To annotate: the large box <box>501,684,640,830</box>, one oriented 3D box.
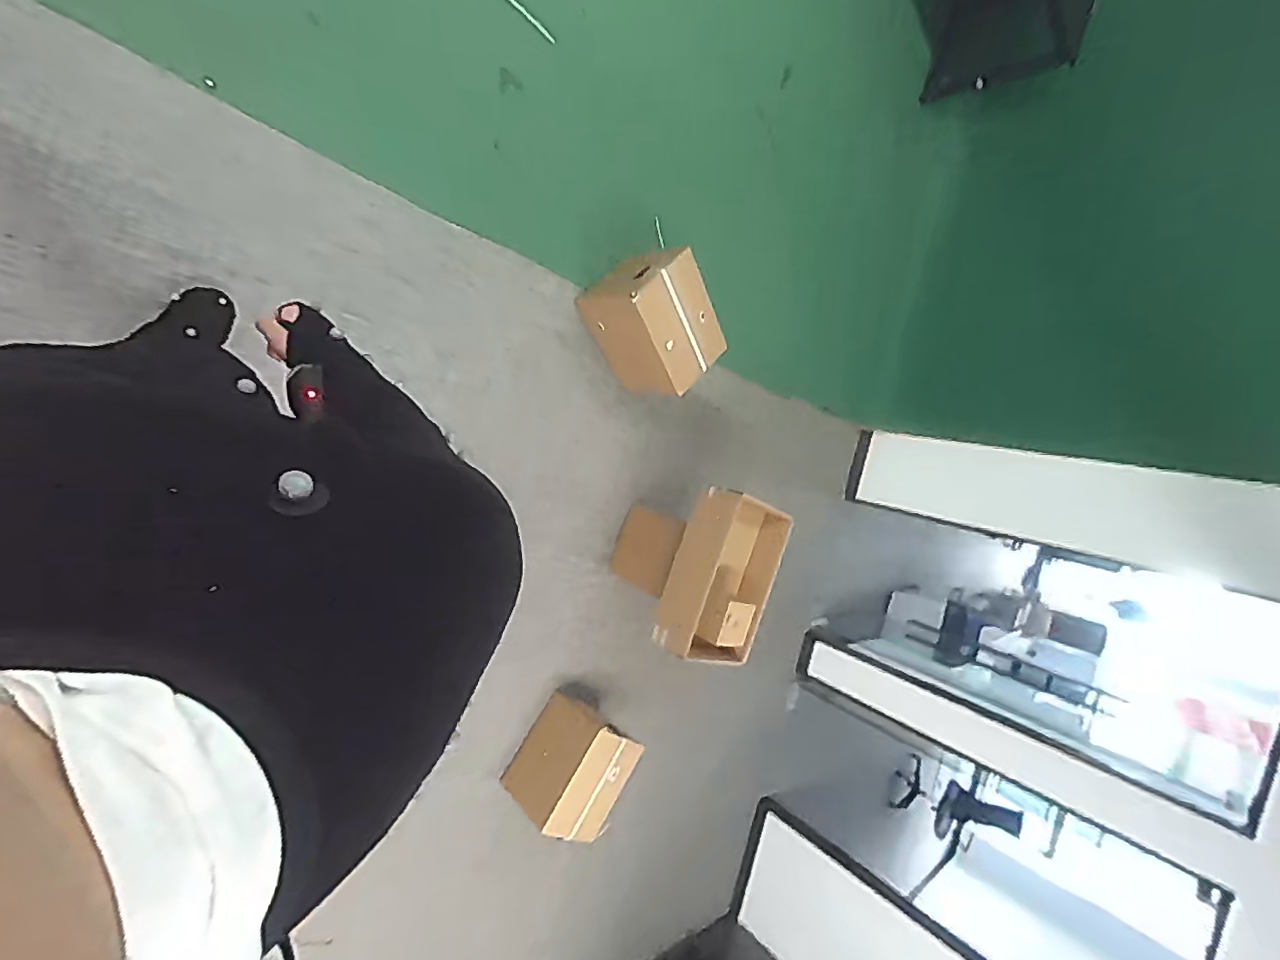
[{"bbox_3d":[-0.279,1.111,2.182,0.320,0.320,0.408,45,70,-42],"label":"large box"}]
